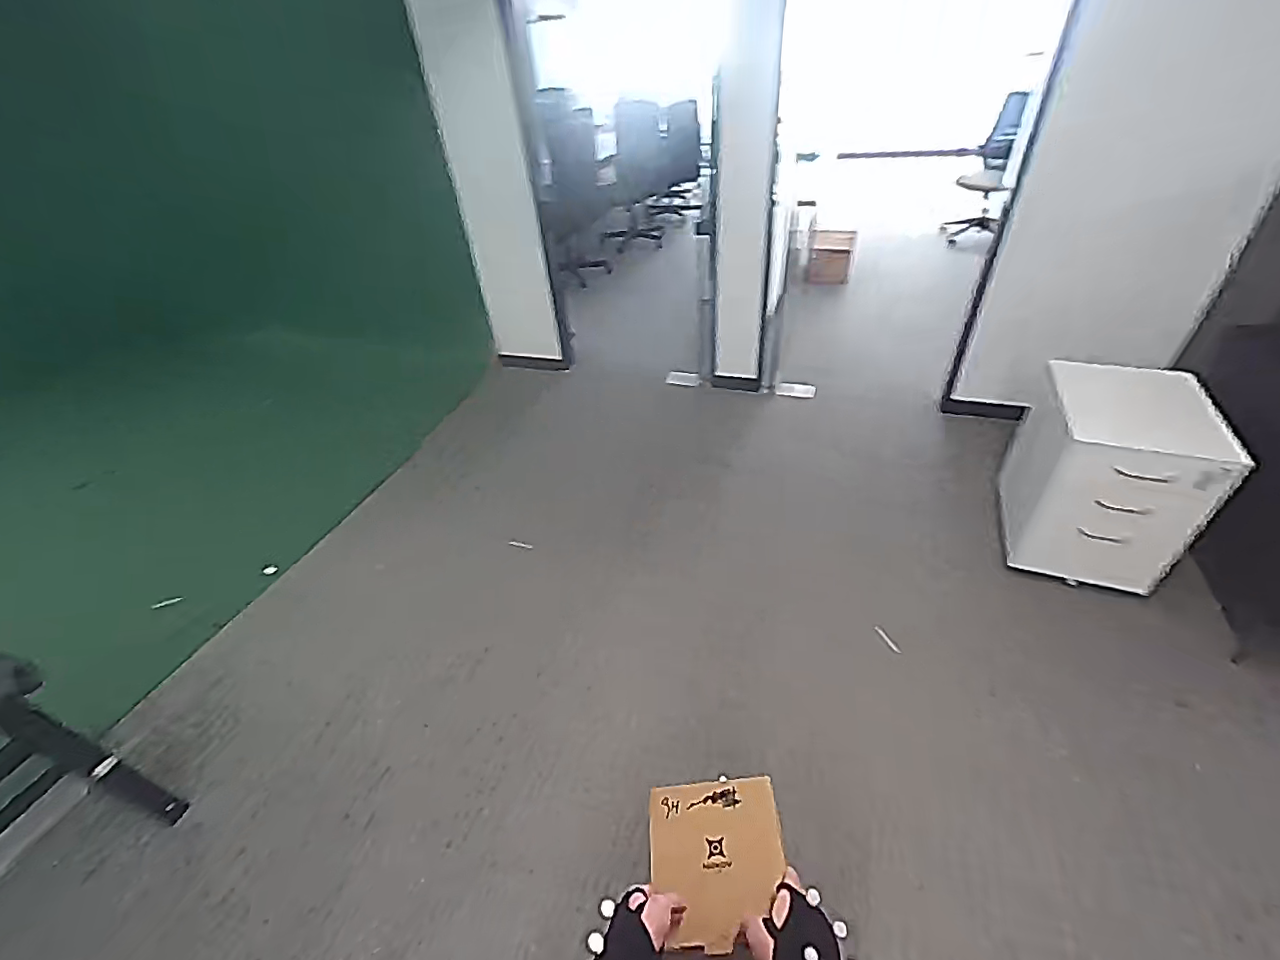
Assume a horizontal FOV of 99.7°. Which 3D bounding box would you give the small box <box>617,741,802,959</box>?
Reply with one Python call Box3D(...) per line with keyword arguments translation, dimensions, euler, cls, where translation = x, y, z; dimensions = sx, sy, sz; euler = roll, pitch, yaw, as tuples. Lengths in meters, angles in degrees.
Box3D(translation=(0.099, 0.505, 0.728), dimensions=(0.179, 0.176, 0.168), euler=(-30, 37, -16), cls="small box")
